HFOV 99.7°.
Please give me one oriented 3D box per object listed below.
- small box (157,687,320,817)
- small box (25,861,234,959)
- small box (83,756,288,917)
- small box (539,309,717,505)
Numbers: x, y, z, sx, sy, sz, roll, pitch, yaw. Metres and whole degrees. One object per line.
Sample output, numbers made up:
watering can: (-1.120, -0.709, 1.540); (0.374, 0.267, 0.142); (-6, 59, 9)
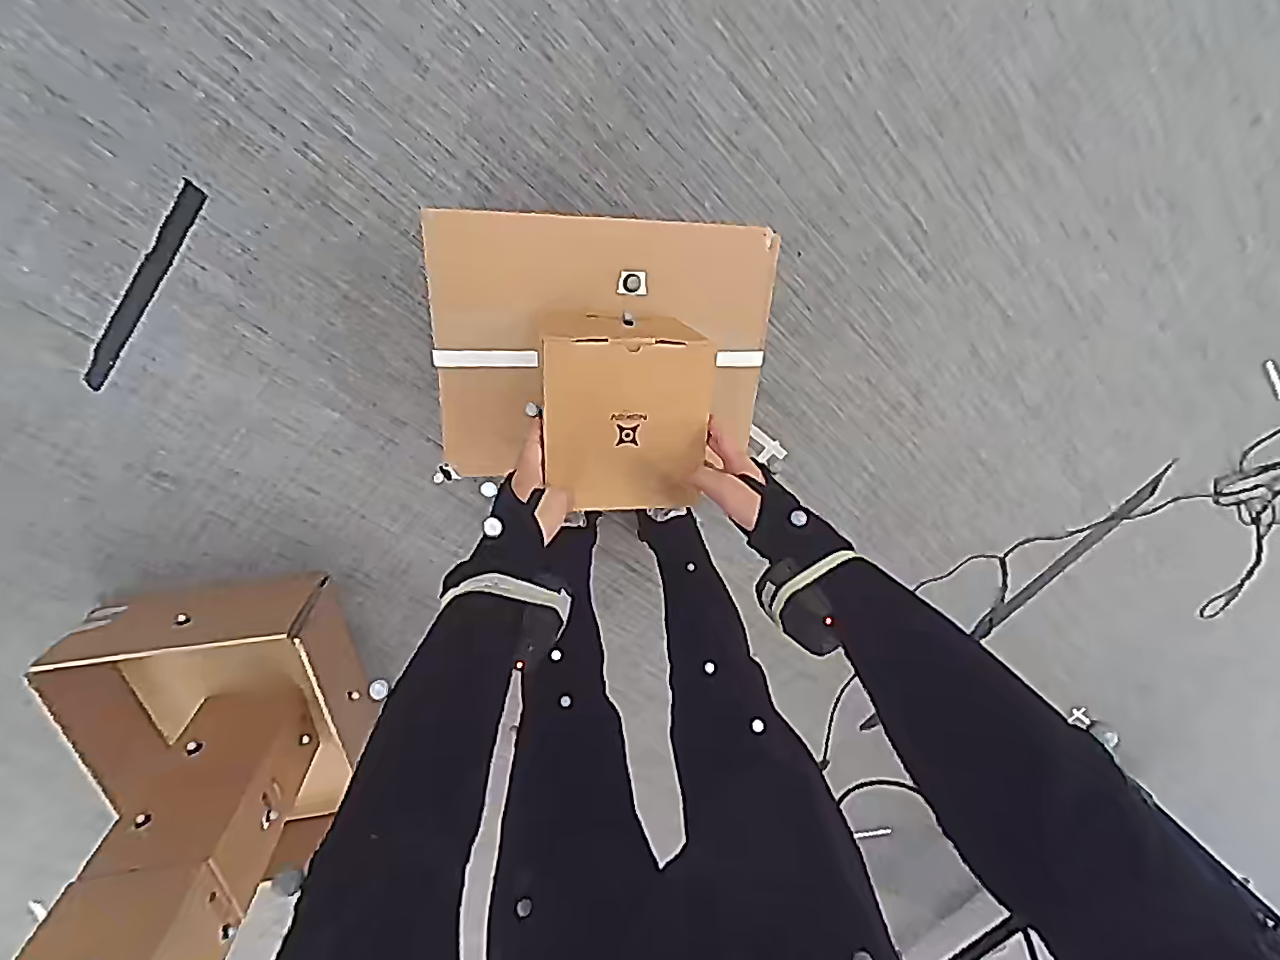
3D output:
small box: (-0.747, 0.521, 1.029); (0.179, 0.176, 0.168); (-3, 115, -10)
small box: (-0.697, 0.656, 0.736); (0.179, 0.176, 0.168); (-5, 115, -7)
small box: (-0.720, 0.587, 0.883); (0.179, 0.176, 0.168); (-5, 116, -10)
small box: (-0.026, -0.087, 0.603); (0.168, 0.176, 0.179); (-1, 114, -11)
